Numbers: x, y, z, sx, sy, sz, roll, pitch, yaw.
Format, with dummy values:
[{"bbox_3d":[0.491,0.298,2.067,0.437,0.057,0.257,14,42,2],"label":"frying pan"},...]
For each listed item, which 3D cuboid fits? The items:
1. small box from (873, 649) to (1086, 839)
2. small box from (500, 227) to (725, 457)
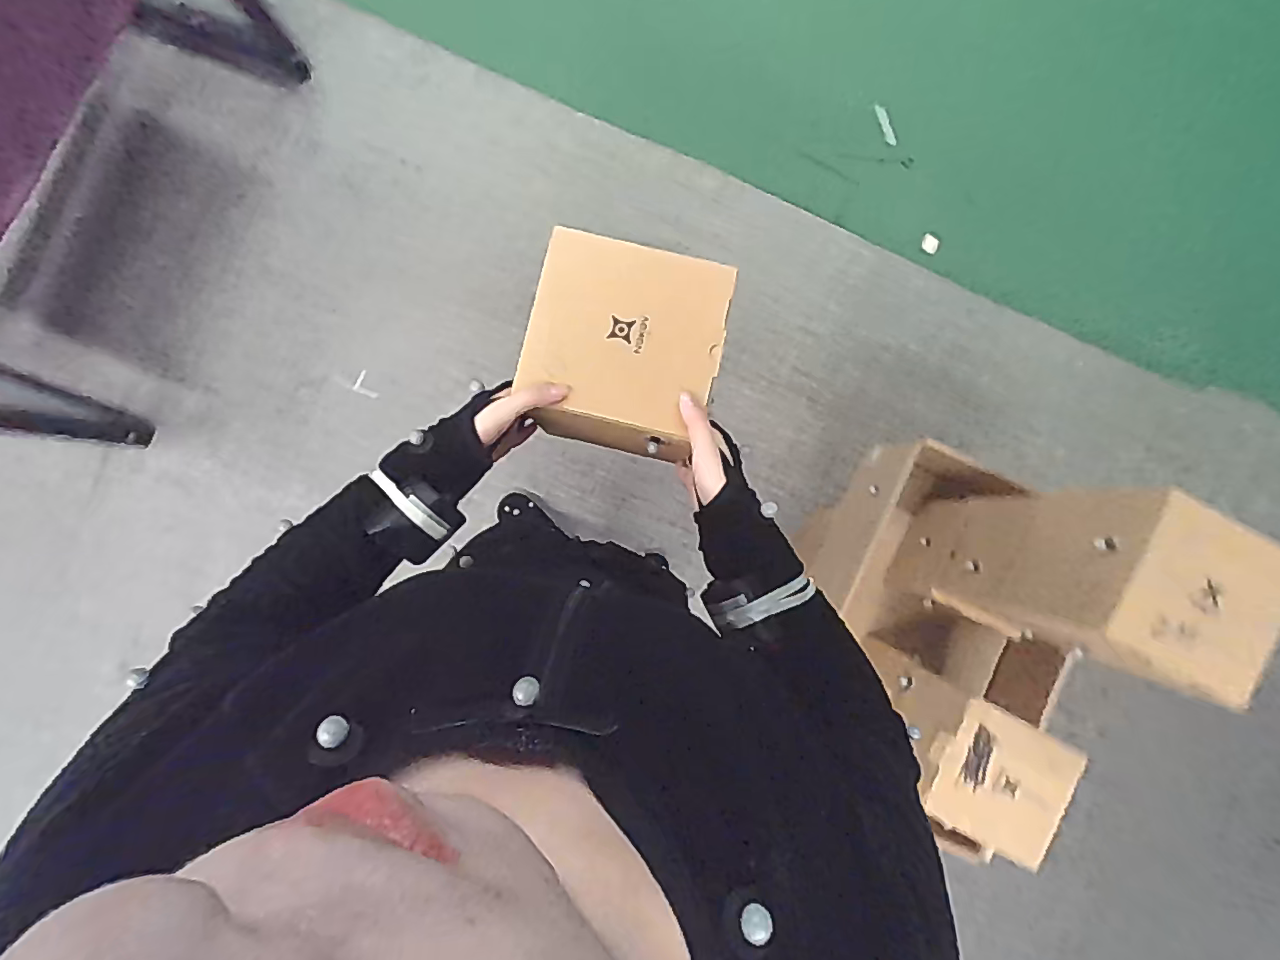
[{"bbox_3d":[0.476,0.365,0.788,0.179,0.176,0.168,25,87,0],"label":"small box"},{"bbox_3d":[-0.025,-0.128,0.566,0.179,0.176,0.168,12,84,0],"label":"small box"}]
